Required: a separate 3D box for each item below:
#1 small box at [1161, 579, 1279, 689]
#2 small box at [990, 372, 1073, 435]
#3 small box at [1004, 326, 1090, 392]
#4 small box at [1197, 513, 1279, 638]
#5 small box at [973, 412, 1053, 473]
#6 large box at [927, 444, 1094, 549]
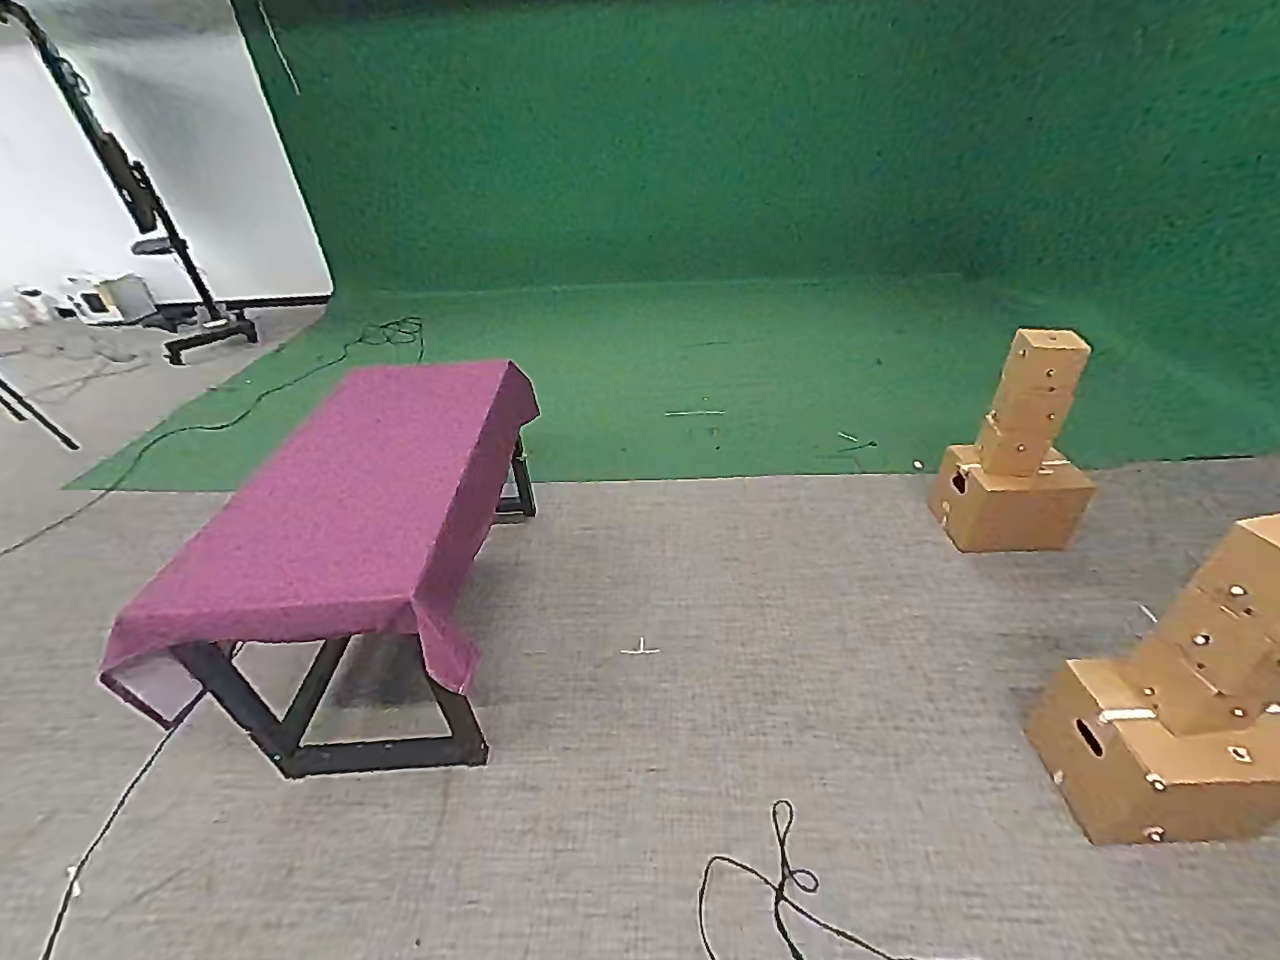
[{"bbox_3d":[1.263,0.315,1.135,0.179,0.176,0.168,-8,35,-5],"label":"small box"},{"bbox_3d":[1.394,-0.275,1.938,0.179,0.176,0.168,6,36,14],"label":"small box"},{"bbox_3d":[1.383,-0.414,1.850,0.168,0.176,0.179,7,36,14],"label":"small box"},{"bbox_3d":[1.257,0.180,1.041,0.179,0.176,0.168,-8,35,-6],"label":"small box"},{"bbox_3d":[1.391,-0.140,2.029,0.179,0.176,0.168,4,36,11],"label":"small box"},{"bbox_3d":[1.453,0.059,2.165,0.408,0.320,0.320,-1,36,1],"label":"large box"}]
